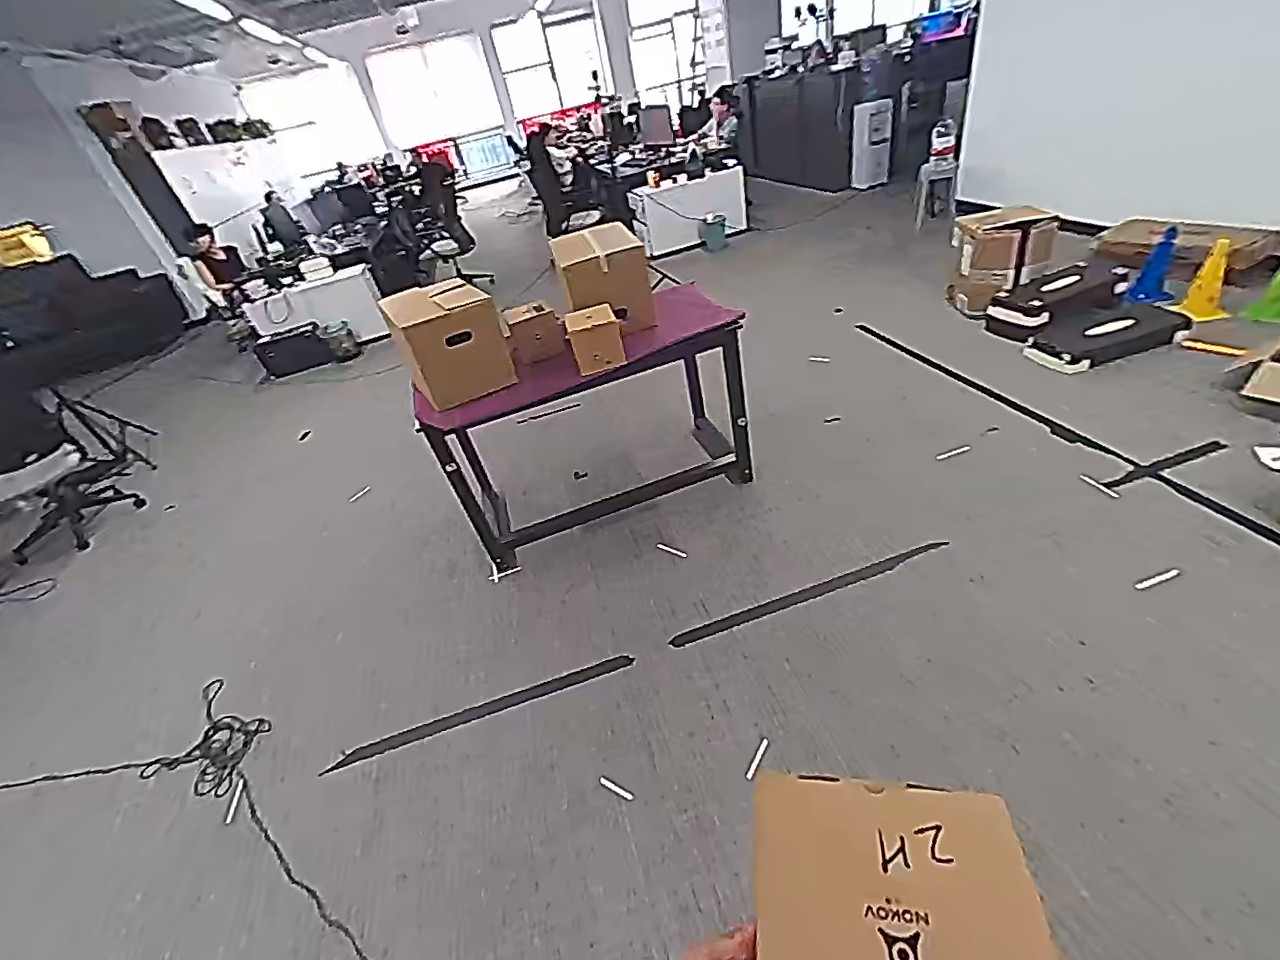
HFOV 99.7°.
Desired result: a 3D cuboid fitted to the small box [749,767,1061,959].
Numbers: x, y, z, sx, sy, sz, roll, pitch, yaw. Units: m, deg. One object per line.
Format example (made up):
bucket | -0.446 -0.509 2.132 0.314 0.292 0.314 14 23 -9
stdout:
small box | 0.157 0.323 0.355 0.168 0.176 0.179 0 36 10
